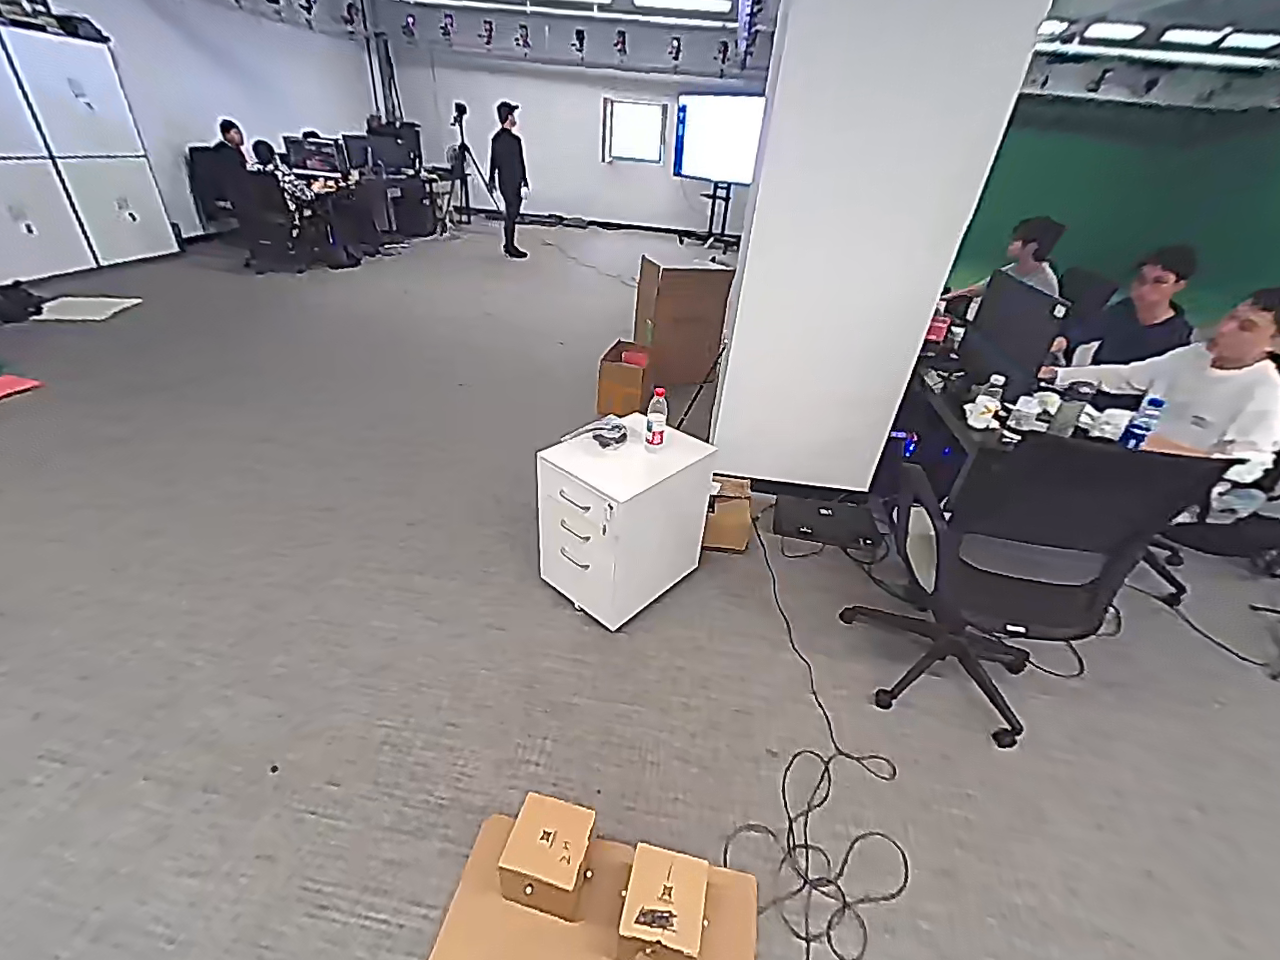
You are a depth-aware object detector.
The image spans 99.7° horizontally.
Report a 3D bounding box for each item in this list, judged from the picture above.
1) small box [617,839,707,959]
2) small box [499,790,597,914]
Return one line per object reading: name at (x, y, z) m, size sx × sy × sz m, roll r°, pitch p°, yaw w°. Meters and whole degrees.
small box at (0.050, 0.947, 1.194) m, size 0.168 × 0.176 × 0.179 m, roll 9°, pitch 32°, yaw 10°
small box at (-0.210, 0.874, 1.270) m, size 0.179 × 0.176 × 0.168 m, roll 11°, pitch 34°, yaw 11°
